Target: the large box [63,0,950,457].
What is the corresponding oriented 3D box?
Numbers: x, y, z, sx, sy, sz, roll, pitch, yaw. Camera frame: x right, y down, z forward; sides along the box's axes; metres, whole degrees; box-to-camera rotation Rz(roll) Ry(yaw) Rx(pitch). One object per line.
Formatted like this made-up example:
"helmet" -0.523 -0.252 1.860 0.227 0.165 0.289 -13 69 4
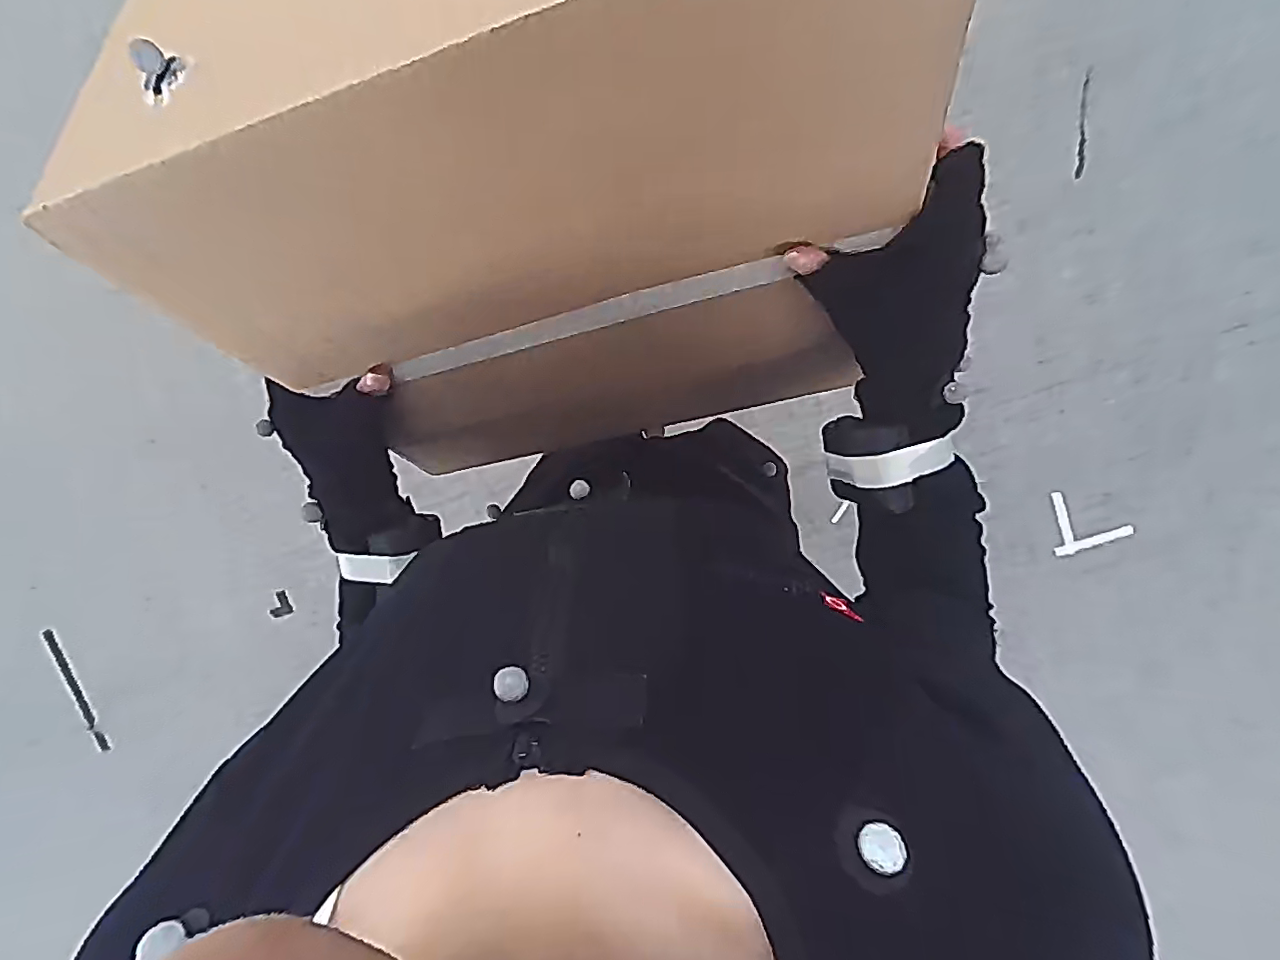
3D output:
"large box" -0.057 -0.250 0.402 0.408 0.320 0.320 -11 67 11
